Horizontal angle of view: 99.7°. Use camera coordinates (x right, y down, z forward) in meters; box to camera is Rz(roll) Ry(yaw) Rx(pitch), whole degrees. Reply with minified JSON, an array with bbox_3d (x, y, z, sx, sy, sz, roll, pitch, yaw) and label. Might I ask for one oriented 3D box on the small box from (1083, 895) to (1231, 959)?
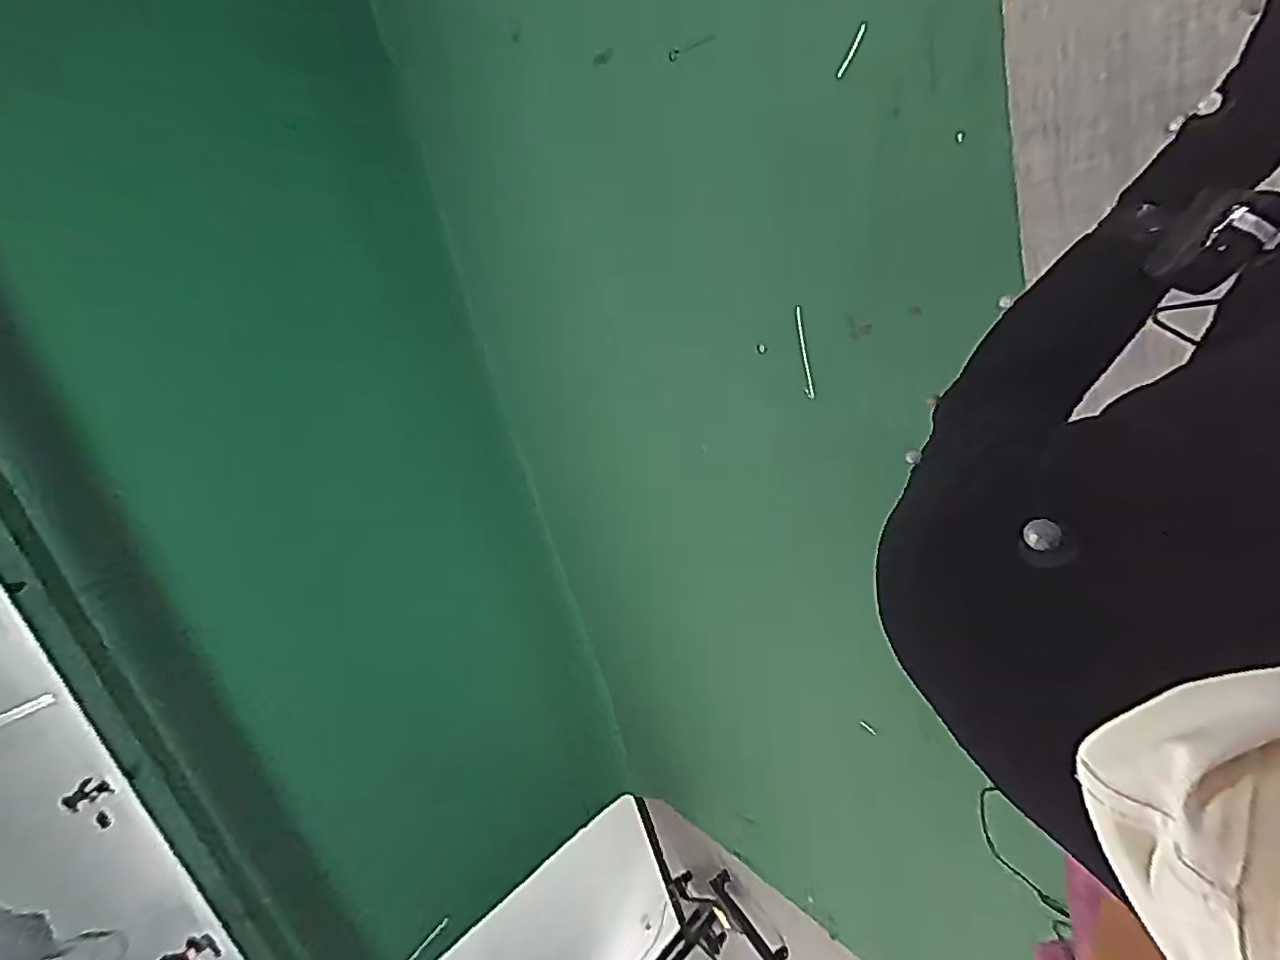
[{"bbox_3d":[0.848,0.849,0.884,0.168,0.176,0.179,5,114,51],"label":"small box"}]
